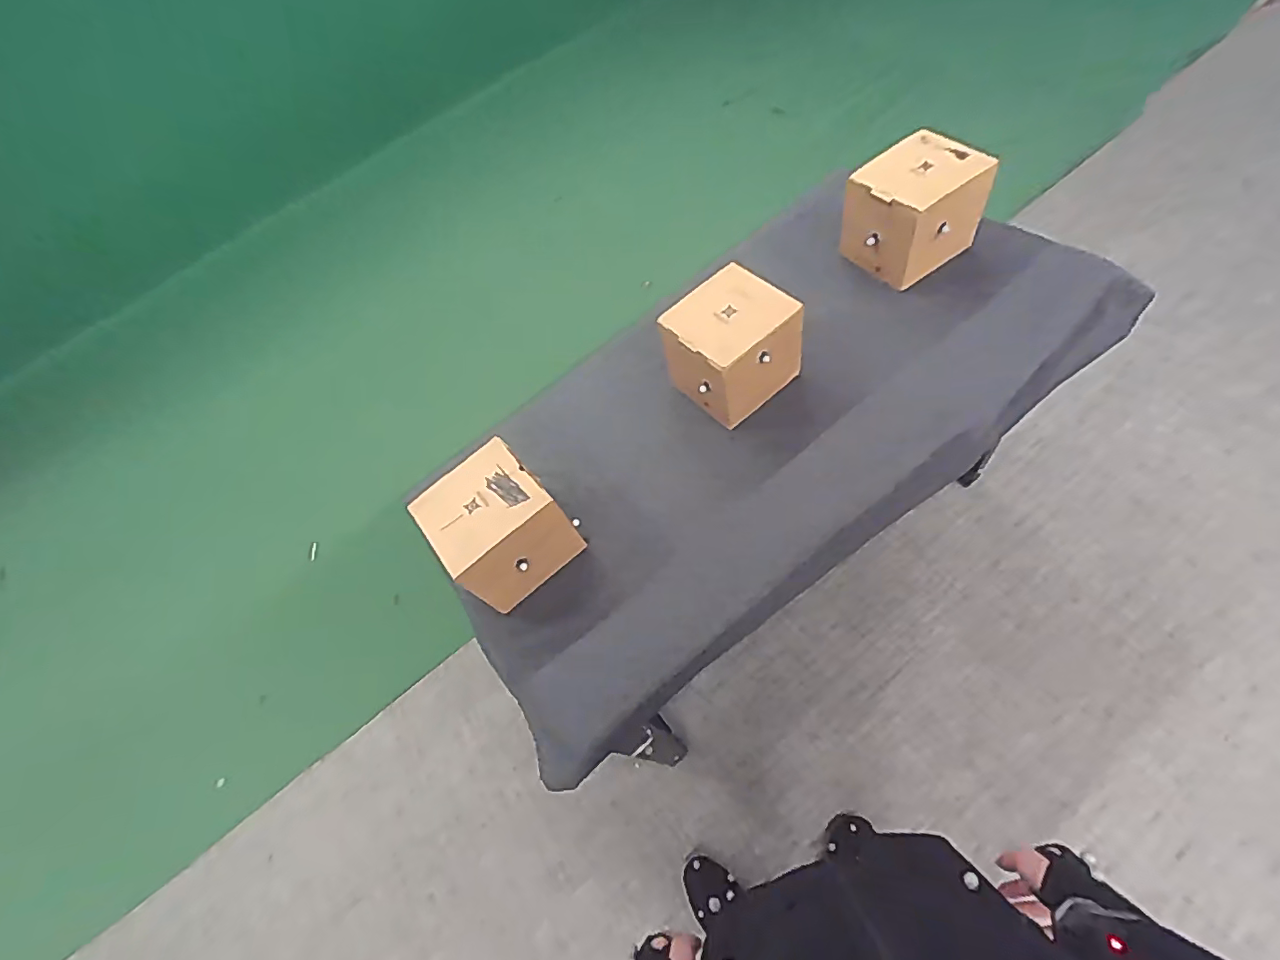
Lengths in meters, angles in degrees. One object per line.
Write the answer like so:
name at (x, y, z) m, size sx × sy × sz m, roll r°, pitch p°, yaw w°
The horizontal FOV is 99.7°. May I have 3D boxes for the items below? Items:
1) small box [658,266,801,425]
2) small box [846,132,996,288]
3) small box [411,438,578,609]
small box at (0.159, -0.228, 0.942) m, size 0.179 × 0.176 × 0.168 m, roll -38°, pitch 60°, yaw -10°
small box at (0.502, -0.492, 1.000) m, size 0.179 × 0.176 × 0.168 m, roll -34°, pitch 59°, yaw -5°
small box at (-0.218, 0.074, 0.862) m, size 0.179 × 0.176 × 0.168 m, roll -40°, pitch 59°, yaw -9°
